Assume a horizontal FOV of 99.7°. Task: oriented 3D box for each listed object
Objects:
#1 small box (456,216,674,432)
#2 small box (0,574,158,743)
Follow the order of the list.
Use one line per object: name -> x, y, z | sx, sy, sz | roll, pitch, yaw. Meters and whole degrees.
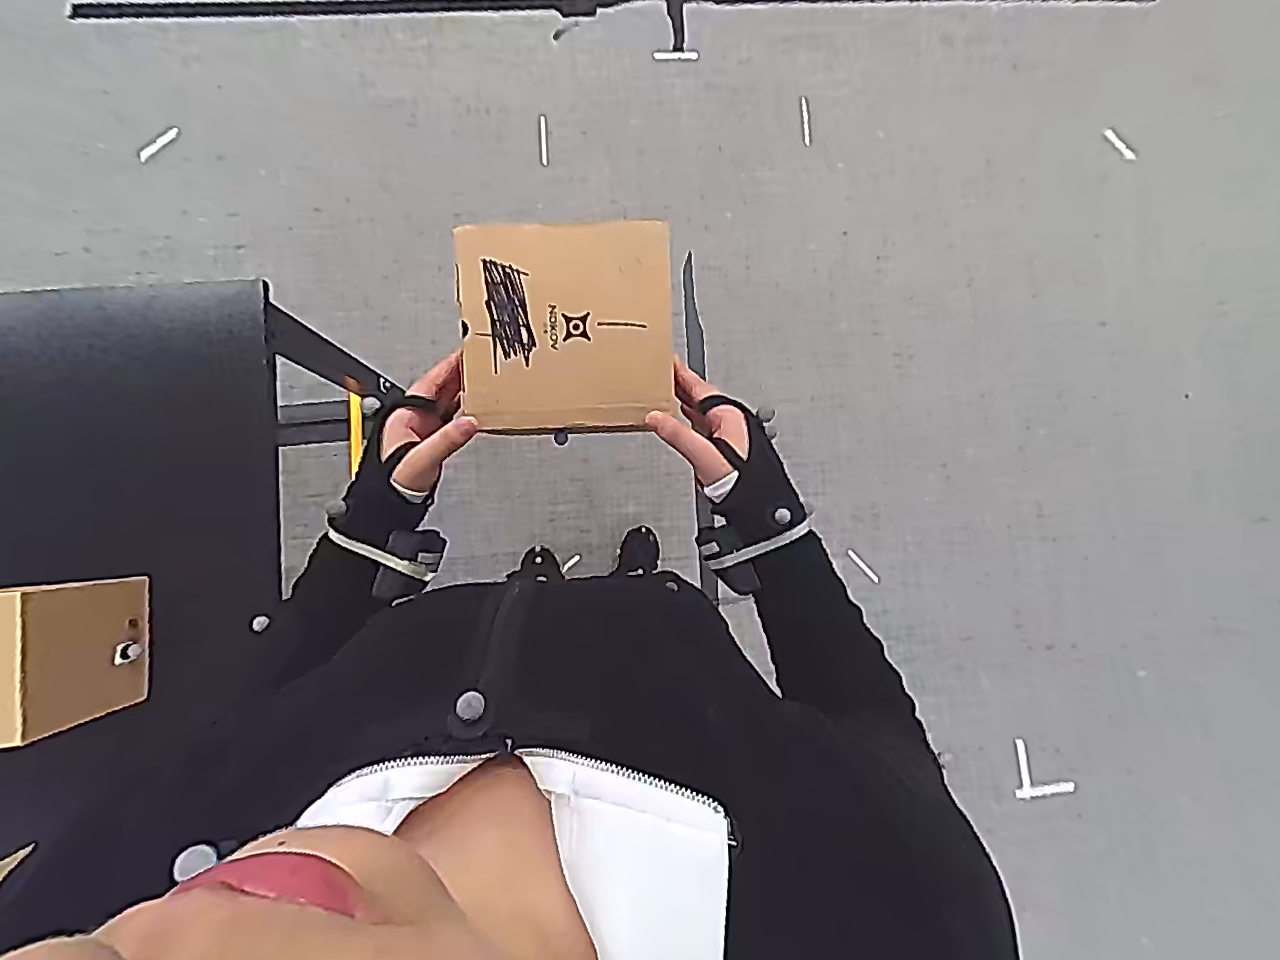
small box -> -0.060, -0.133, 0.519 | 0.179, 0.176, 0.168 | -2, 94, -1
small box -> -0.748, 0.211, 0.660 | 0.179, 0.176, 0.168 | -5, 86, -4
